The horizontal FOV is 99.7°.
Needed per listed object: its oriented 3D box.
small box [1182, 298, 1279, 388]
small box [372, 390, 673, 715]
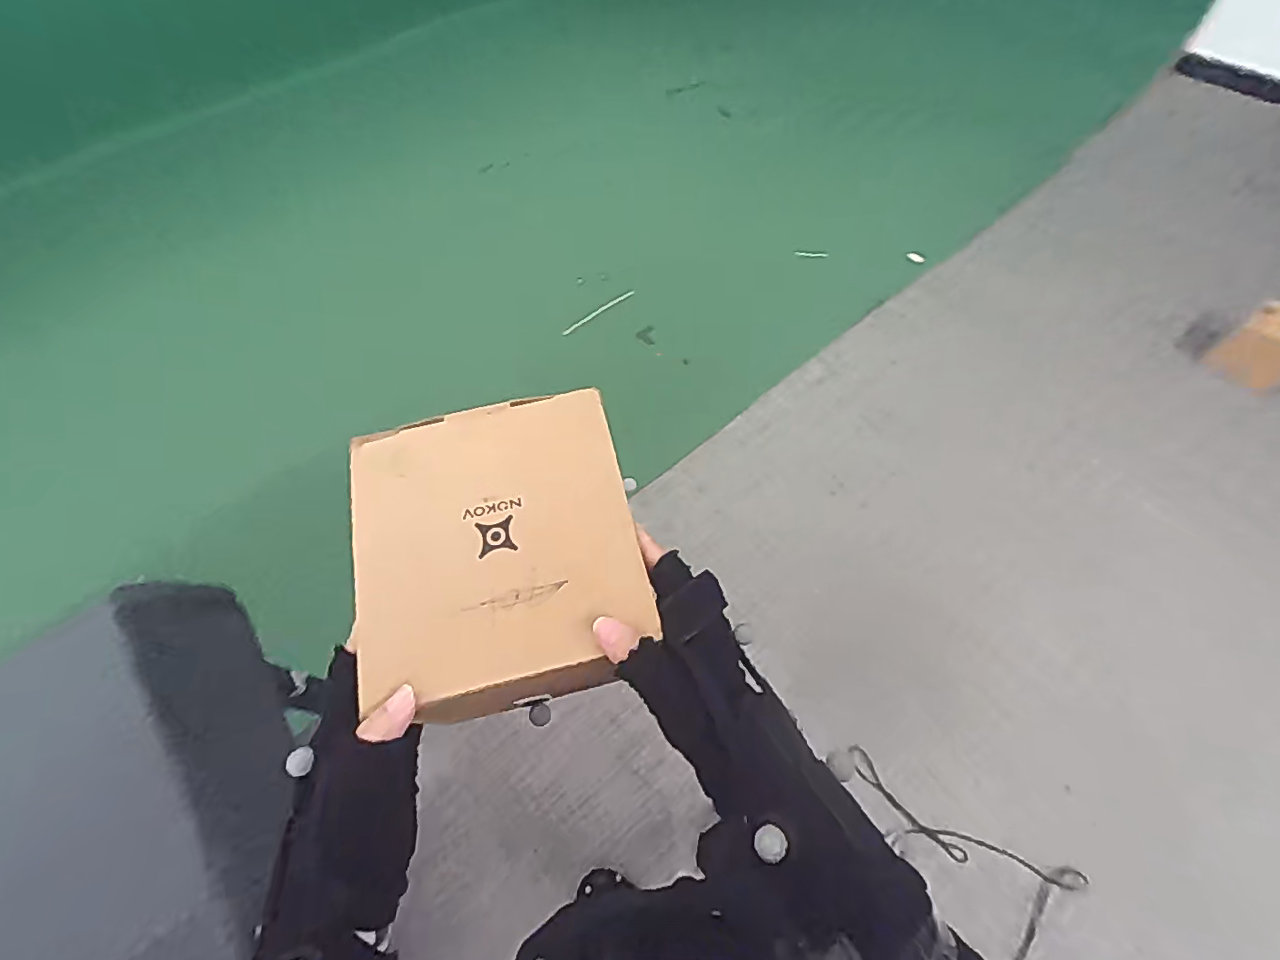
[{"bbox_3d":[1.813,-0.401,1.619,0.168,0.176,0.179,-35,65,-16],"label":"small box"},{"bbox_3d":[-0.080,0.063,0.403,0.168,0.176,0.179,-12,66,-6],"label":"small box"}]
